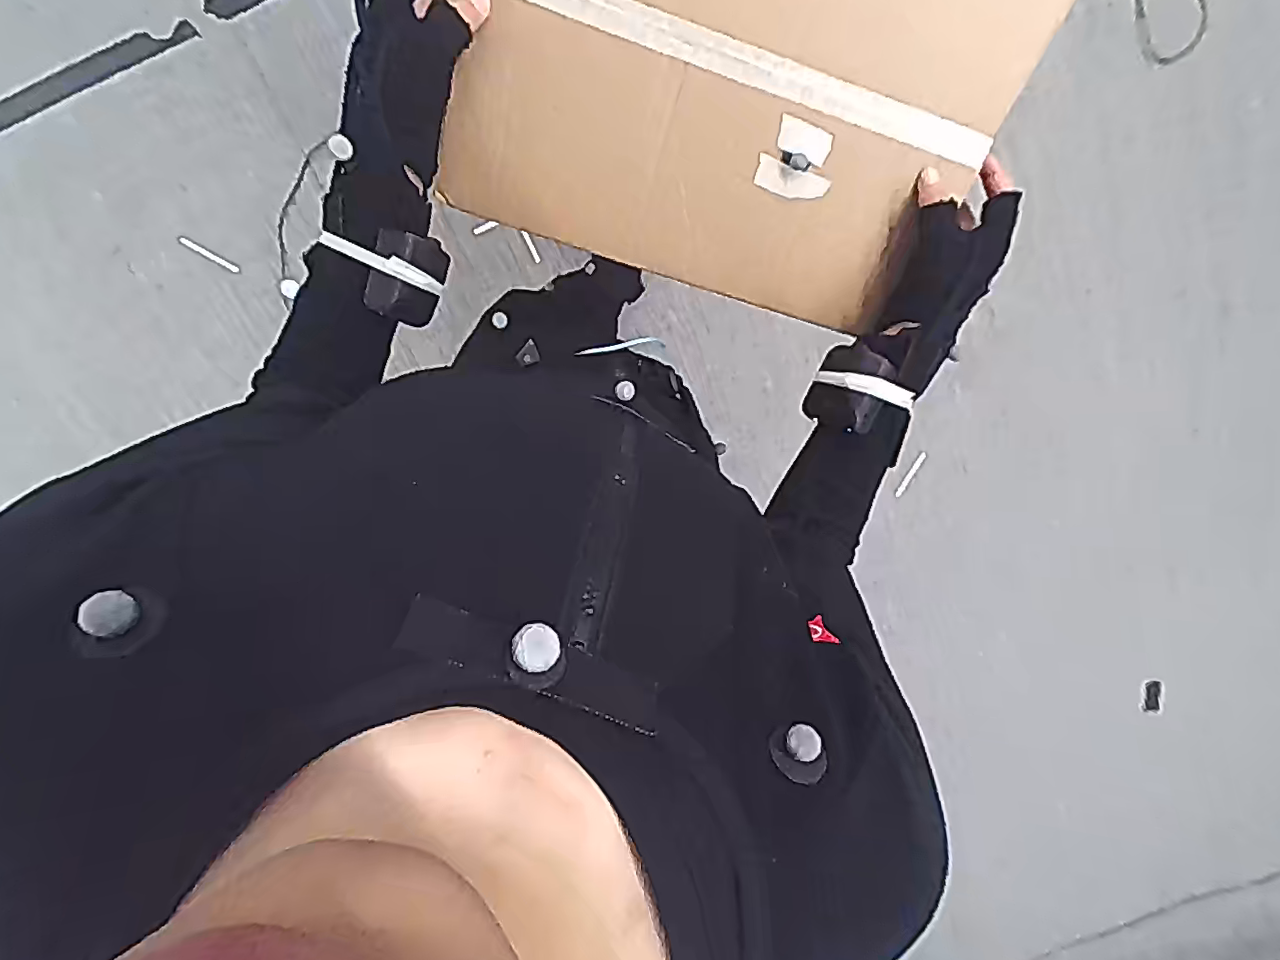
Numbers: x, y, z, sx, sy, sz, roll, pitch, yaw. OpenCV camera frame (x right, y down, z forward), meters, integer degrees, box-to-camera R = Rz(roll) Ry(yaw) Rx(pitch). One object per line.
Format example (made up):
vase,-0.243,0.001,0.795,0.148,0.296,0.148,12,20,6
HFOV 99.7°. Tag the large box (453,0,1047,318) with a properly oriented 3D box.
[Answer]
large box,0.072,-0.400,0.522,0.408,0.320,0.320,14,125,-9
